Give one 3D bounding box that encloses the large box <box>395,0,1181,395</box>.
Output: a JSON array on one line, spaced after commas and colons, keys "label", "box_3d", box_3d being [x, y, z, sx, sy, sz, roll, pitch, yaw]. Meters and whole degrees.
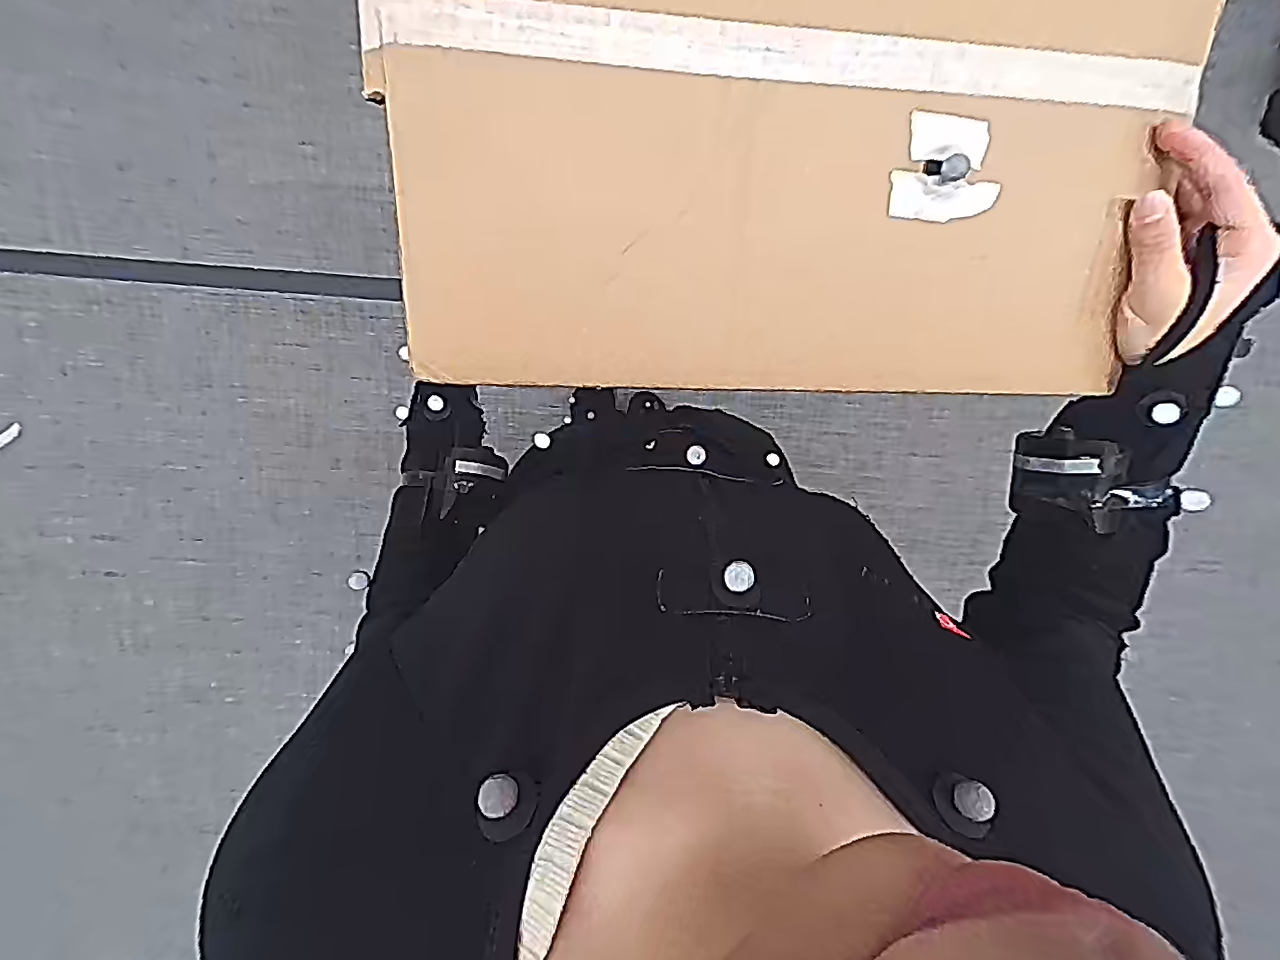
[{"label": "large box", "box_3d": [0.063, -0.239, 0.415, 0.408, 0.320, 0.320, -1, 106, -8]}]
